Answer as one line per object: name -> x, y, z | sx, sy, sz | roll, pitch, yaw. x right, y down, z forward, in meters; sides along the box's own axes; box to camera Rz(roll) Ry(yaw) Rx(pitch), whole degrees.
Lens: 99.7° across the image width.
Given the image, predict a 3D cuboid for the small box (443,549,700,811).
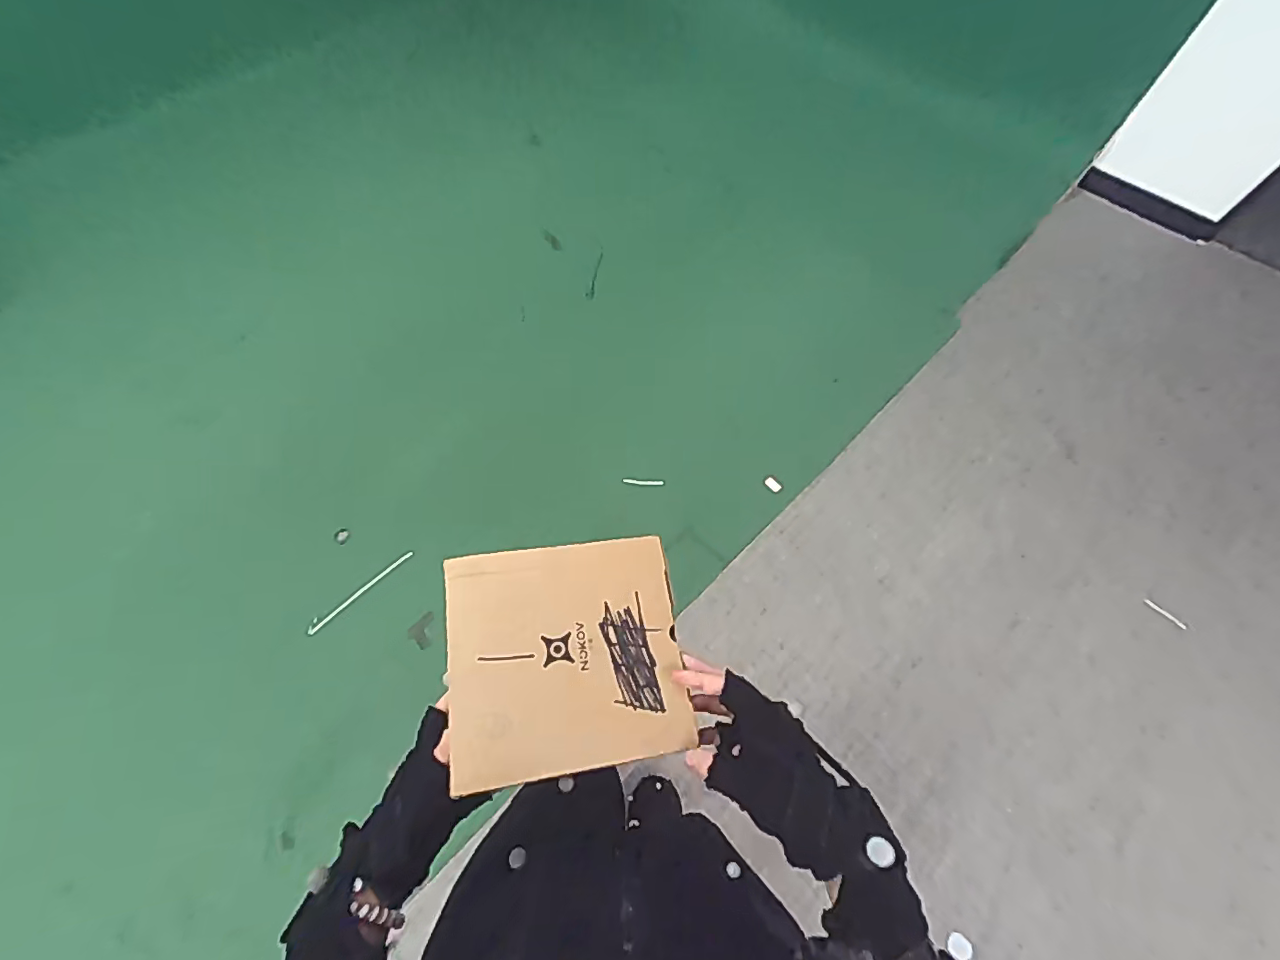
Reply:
small box -> -0.065, 0.168, 0.464 | 0.179, 0.176, 0.168 | -4, 64, -12
